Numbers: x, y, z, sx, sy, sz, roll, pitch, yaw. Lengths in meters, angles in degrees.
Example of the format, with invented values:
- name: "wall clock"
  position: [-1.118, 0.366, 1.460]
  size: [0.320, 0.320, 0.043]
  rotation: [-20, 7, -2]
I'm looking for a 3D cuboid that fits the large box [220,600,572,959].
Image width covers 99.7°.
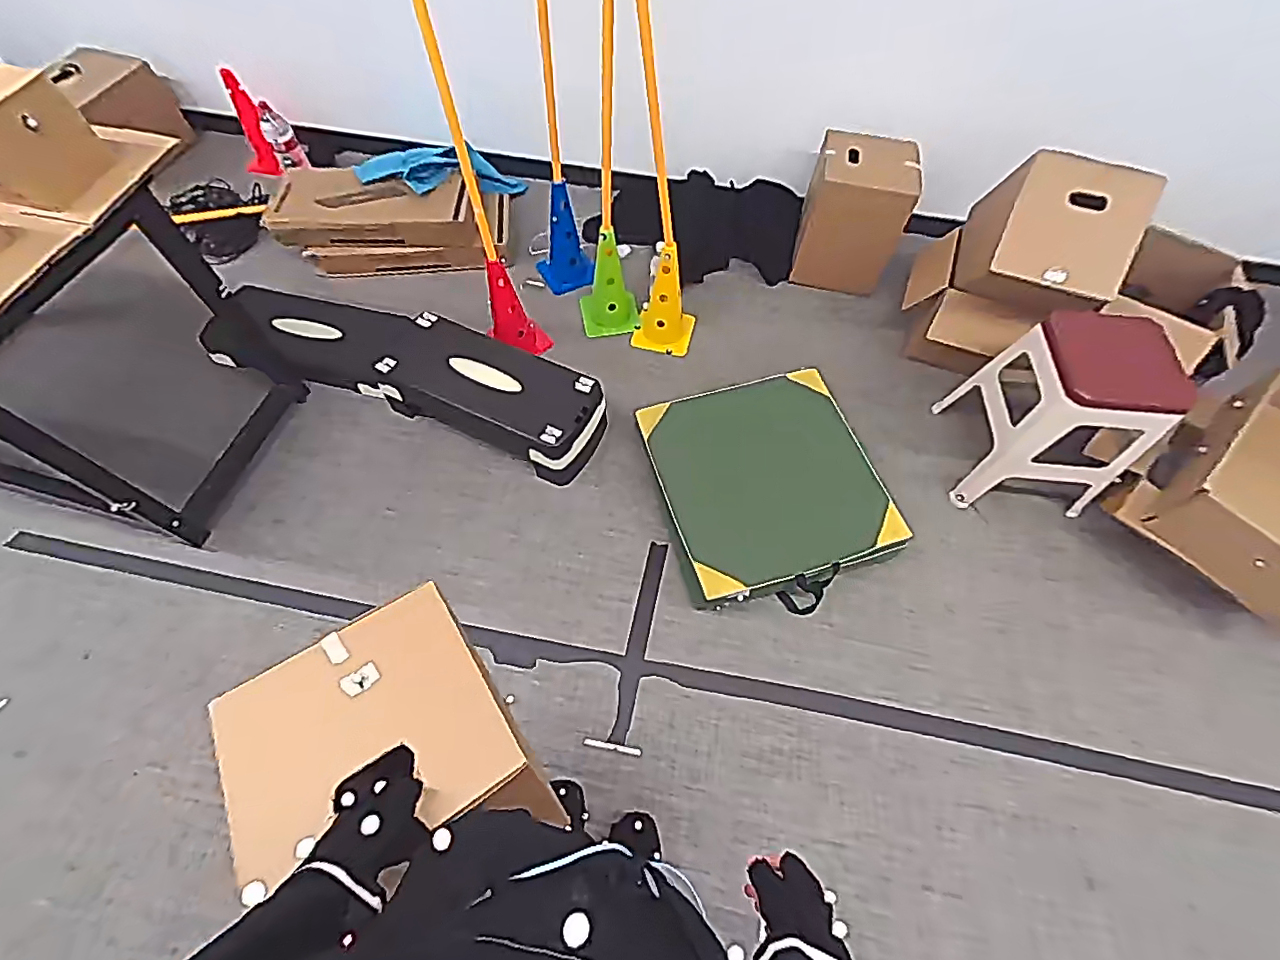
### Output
- name: "large box"
  position: [-0.336, 0.456, 0.826]
  size: [0.320, 0.408, 0.320]
  rotation: [-28, 55, -20]
